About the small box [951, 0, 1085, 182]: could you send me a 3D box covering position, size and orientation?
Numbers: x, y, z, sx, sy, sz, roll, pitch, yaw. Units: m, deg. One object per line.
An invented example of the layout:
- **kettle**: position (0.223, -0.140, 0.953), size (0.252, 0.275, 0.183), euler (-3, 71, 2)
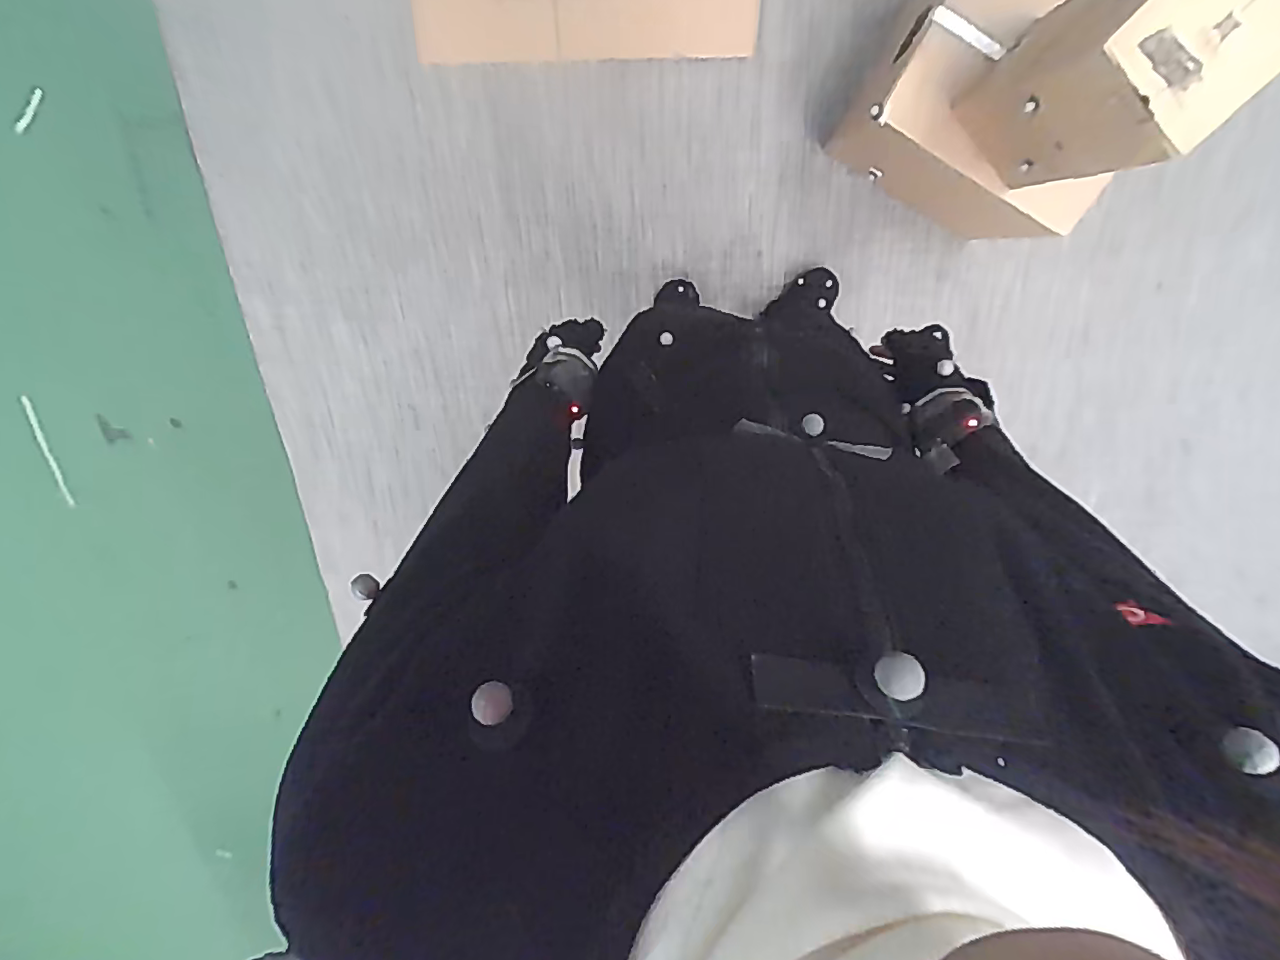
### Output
- **small box**: position (0.615, -0.573, 0.803), size (0.179, 0.176, 0.168), euler (41, 107, -12)

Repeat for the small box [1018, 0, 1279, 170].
- **small box**: position (0.605, -0.510, 0.652), size (0.168, 0.176, 0.179), euler (38, 109, -13)
